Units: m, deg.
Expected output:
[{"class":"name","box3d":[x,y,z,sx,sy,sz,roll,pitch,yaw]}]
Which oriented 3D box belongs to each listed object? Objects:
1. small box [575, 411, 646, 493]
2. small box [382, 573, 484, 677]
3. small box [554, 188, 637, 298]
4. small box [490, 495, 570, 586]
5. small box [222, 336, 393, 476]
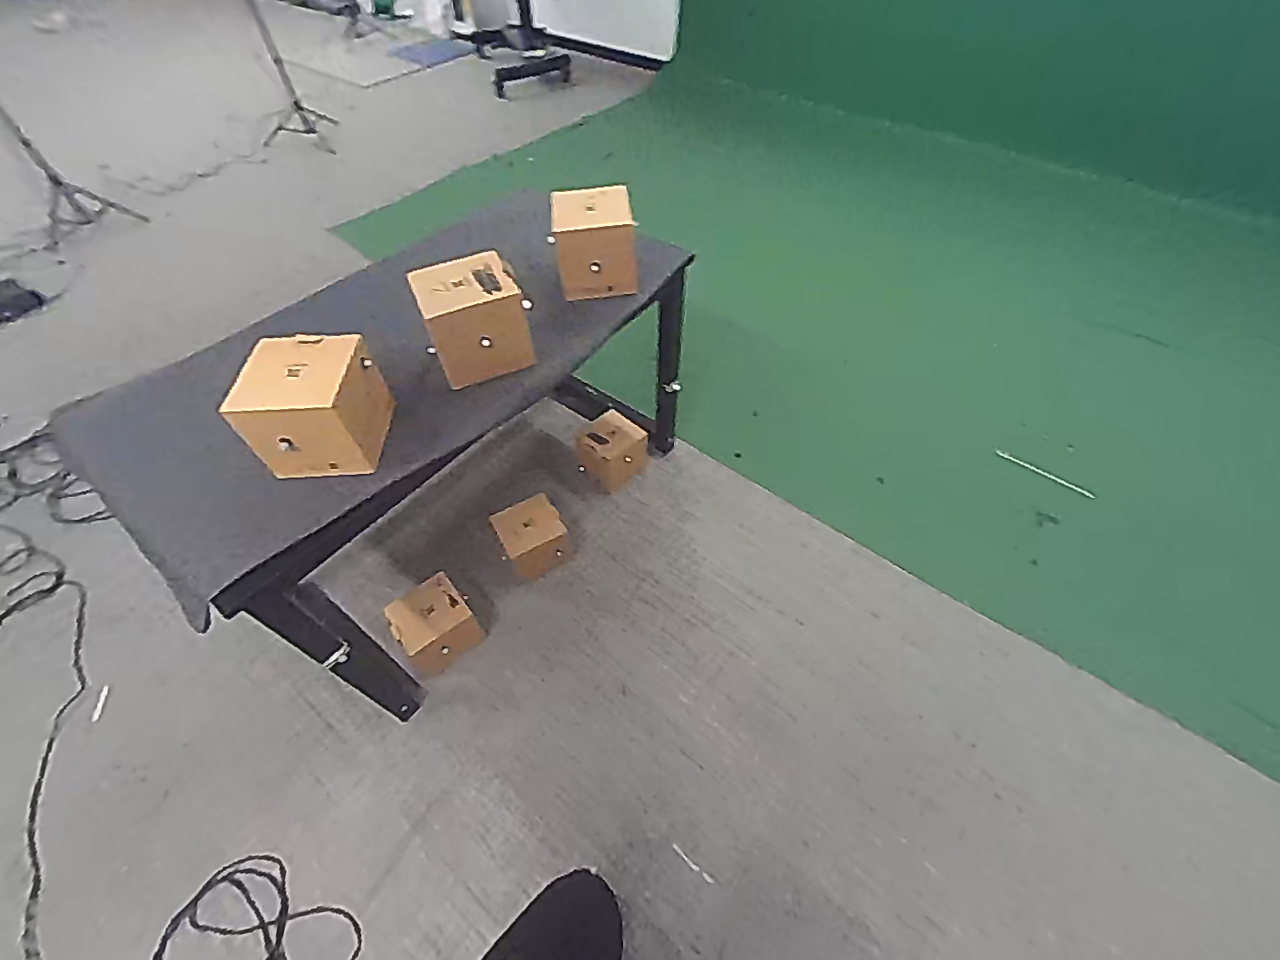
[{"class":"small box","box3d":[-0.094,-0.090,1.803,0.168,0.176,0.179,38,60,24]},{"class":"small box","box3d":[-0.543,0.390,1.436,0.179,0.176,0.168,-34,60,-22]},{"class":"small box","box3d":[-0.097,-0.526,1.215,0.168,0.176,0.179,-6,52,-1]},{"class":"small box","box3d":[-0.316,0.181,1.596,0.179,0.176,0.168,-27,56,-18]},{"class":"small box","box3d":[-0.538,-0.118,0.908,0.168,0.176,0.179,-3,52,-3]}]
